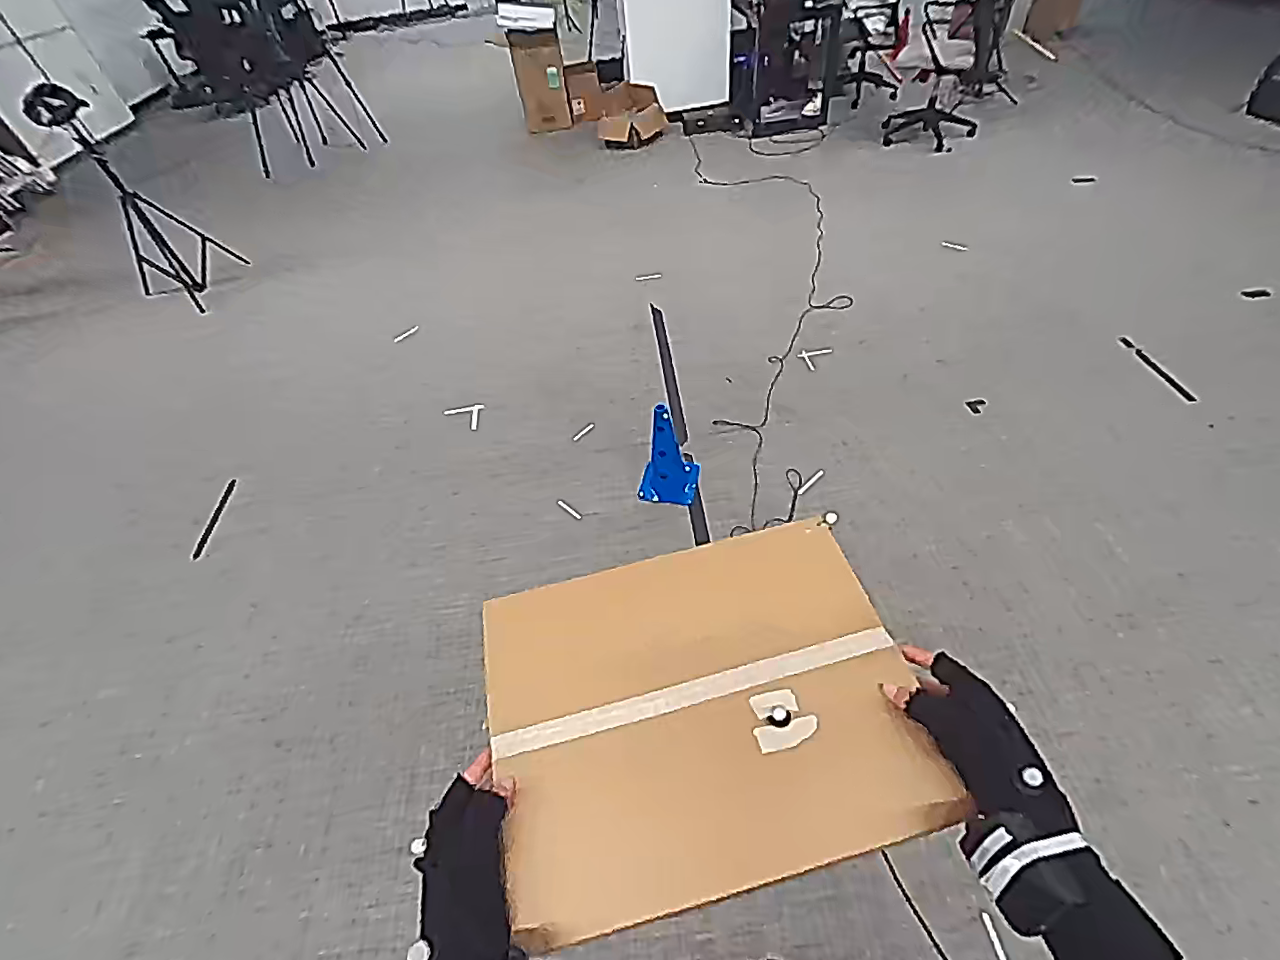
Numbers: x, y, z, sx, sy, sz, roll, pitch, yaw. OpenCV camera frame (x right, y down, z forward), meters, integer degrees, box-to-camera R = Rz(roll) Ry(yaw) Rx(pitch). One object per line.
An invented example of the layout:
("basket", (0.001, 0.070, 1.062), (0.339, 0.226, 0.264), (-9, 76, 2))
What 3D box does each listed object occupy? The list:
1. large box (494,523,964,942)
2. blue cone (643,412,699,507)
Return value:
("large box", (0.070, 0.305, 0.658), (0.408, 0.320, 0.320), (-14, 52, -4))
("blue cone", (0.093, -0.091, 1.854), (0.193, 0.380, 0.192), (7, 51, 16))
